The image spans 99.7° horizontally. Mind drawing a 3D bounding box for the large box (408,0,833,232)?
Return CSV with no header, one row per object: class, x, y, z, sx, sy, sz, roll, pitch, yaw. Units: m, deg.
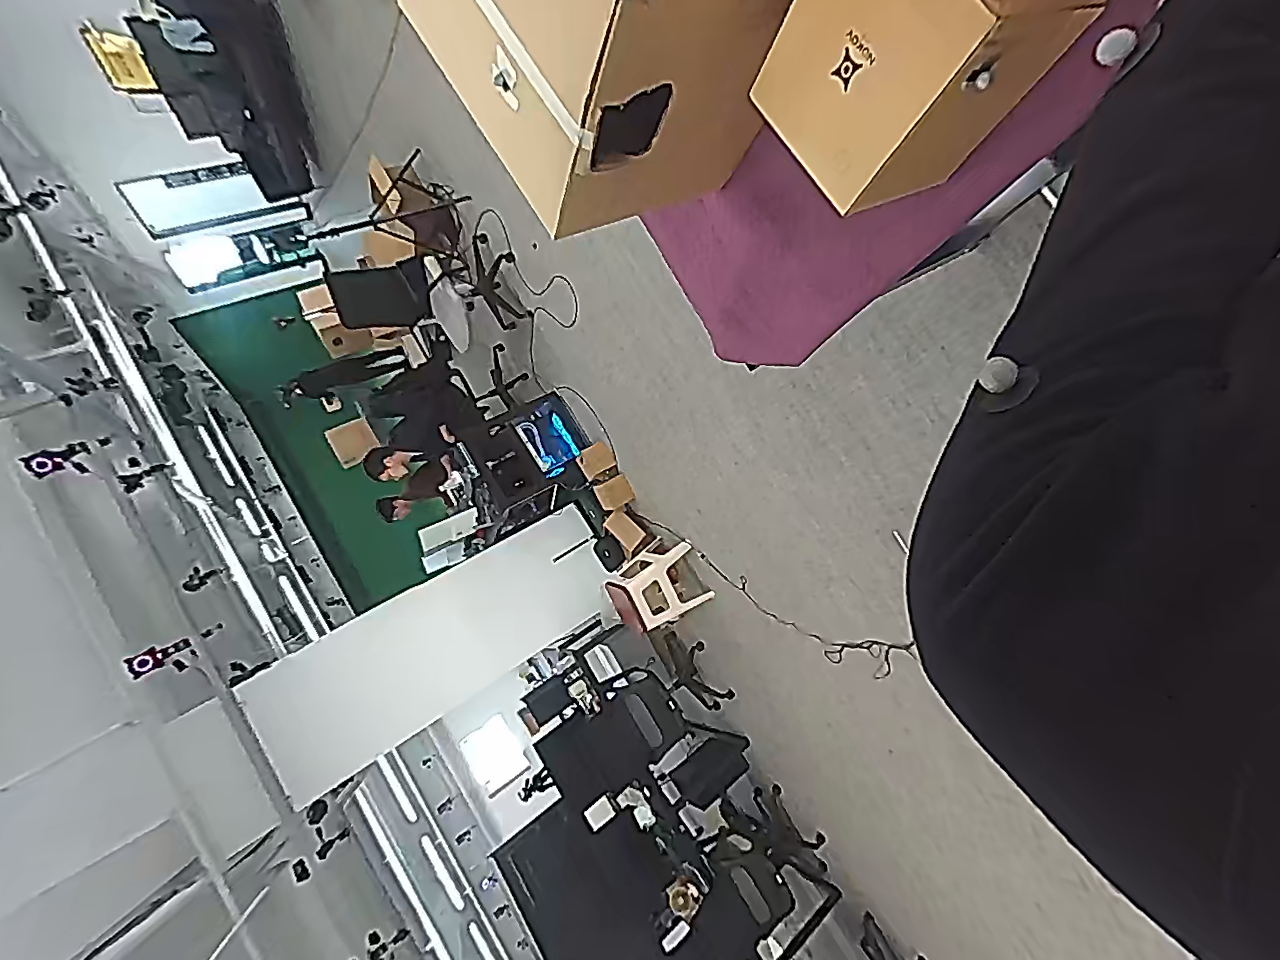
large box,-0.040,-0.598,0.646,0.408,0.320,0.320,55,155,4
